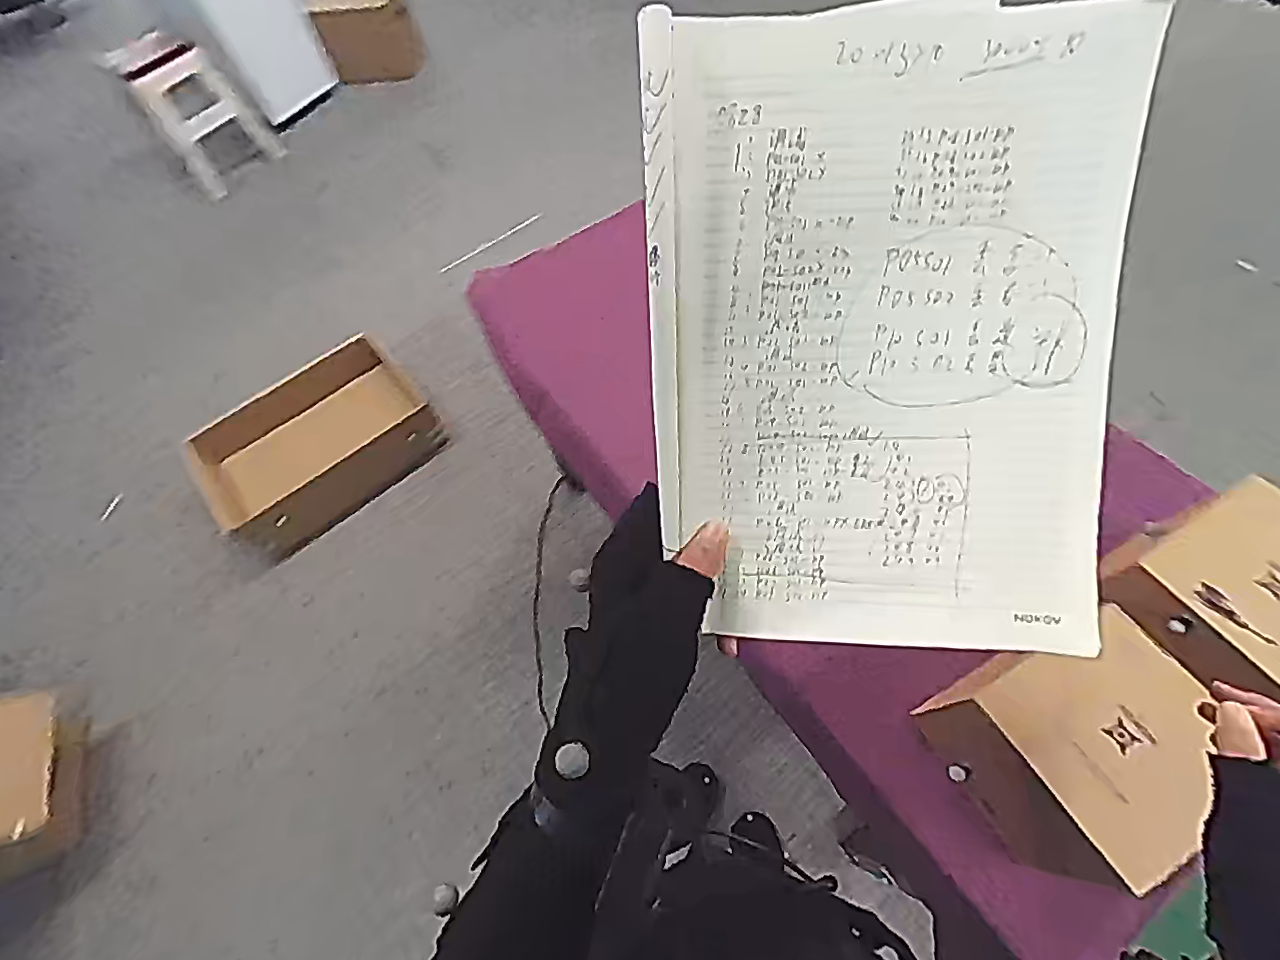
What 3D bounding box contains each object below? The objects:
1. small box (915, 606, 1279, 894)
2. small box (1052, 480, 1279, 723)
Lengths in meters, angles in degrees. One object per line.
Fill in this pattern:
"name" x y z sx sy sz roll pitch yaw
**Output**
"small box" 0.412 0.251 0.526 0.179 0.176 0.168 -27 63 -9
"small box" 0.600 0.135 0.571 0.179 0.176 0.168 -29 64 -11
